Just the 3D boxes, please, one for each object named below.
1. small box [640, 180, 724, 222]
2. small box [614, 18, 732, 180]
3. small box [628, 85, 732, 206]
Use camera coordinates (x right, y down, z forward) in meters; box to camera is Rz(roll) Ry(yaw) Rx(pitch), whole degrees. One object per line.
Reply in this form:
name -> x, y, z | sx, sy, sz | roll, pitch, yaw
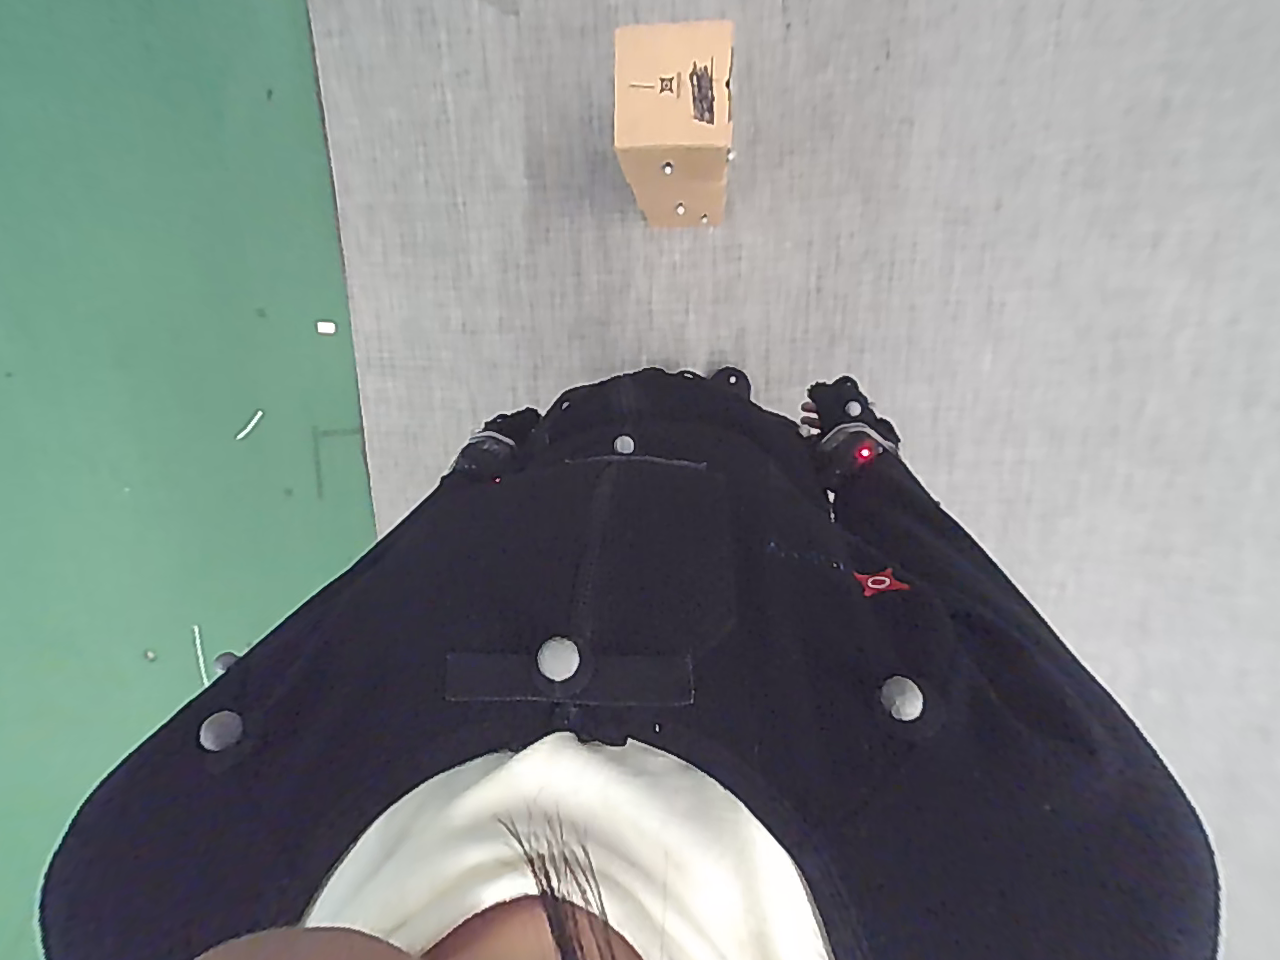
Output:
small box -> 0.096, -0.682, 1.201 | 0.179, 0.176, 0.168 | 1, 102, 8
small box -> 0.055, -0.607, 0.883 | 0.179, 0.176, 0.168 | 0, 103, 5
small box -> 0.077, -0.641, 1.043 | 0.179, 0.176, 0.168 | 5, 103, 5
